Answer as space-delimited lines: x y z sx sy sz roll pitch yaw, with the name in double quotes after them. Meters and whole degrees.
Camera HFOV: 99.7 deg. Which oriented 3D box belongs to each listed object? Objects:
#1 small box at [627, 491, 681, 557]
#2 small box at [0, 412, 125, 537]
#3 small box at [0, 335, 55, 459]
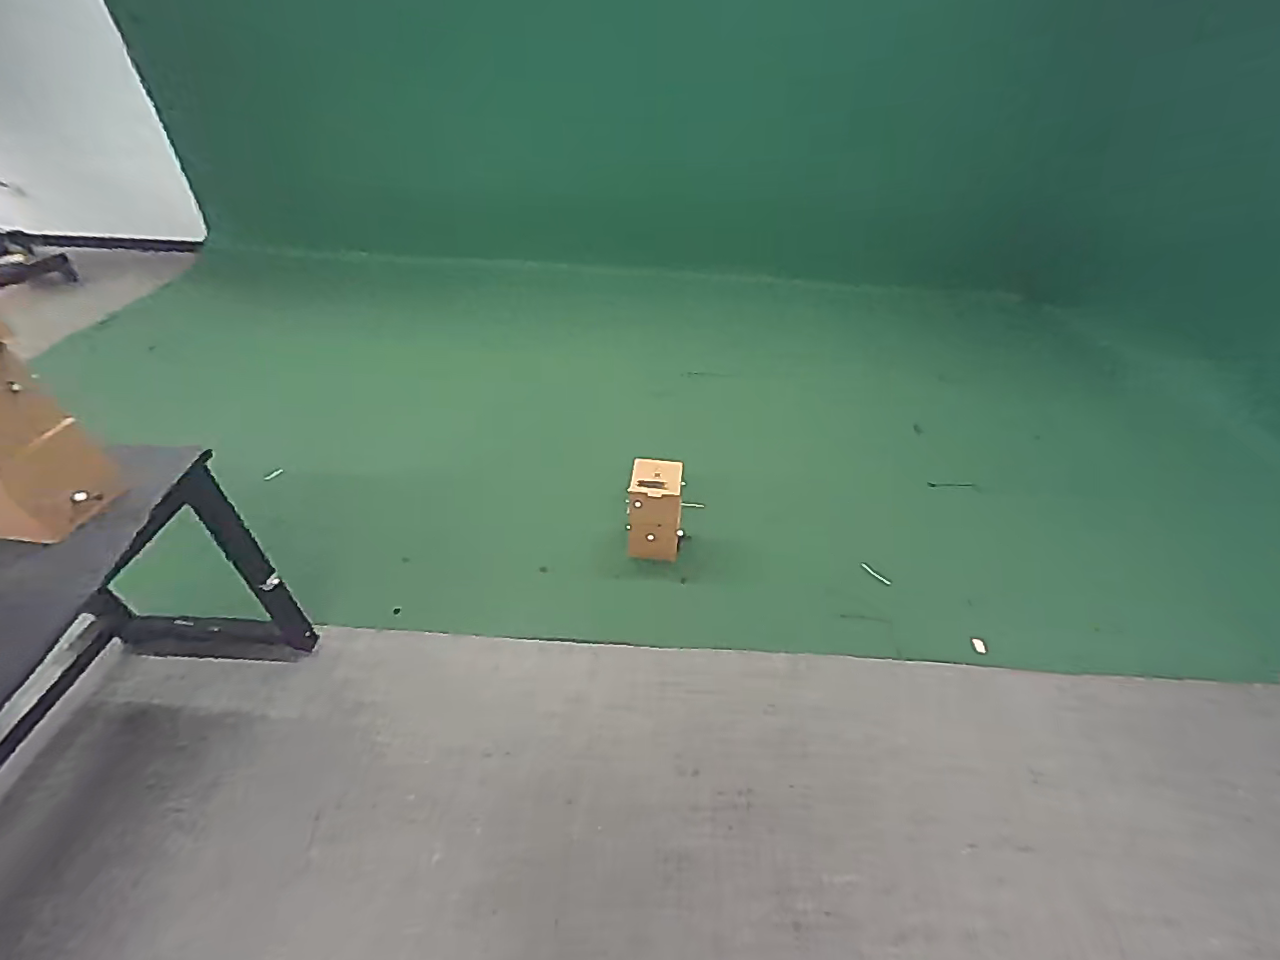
0.049 0.164 1.964 0.179 0.176 0.168 6 42 3 "small box"
-1.126 -0.013 0.987 0.179 0.176 0.168 6 43 6 "small box"
-1.127 -0.127 0.871 0.168 0.176 0.179 -1 43 1 "small box"
